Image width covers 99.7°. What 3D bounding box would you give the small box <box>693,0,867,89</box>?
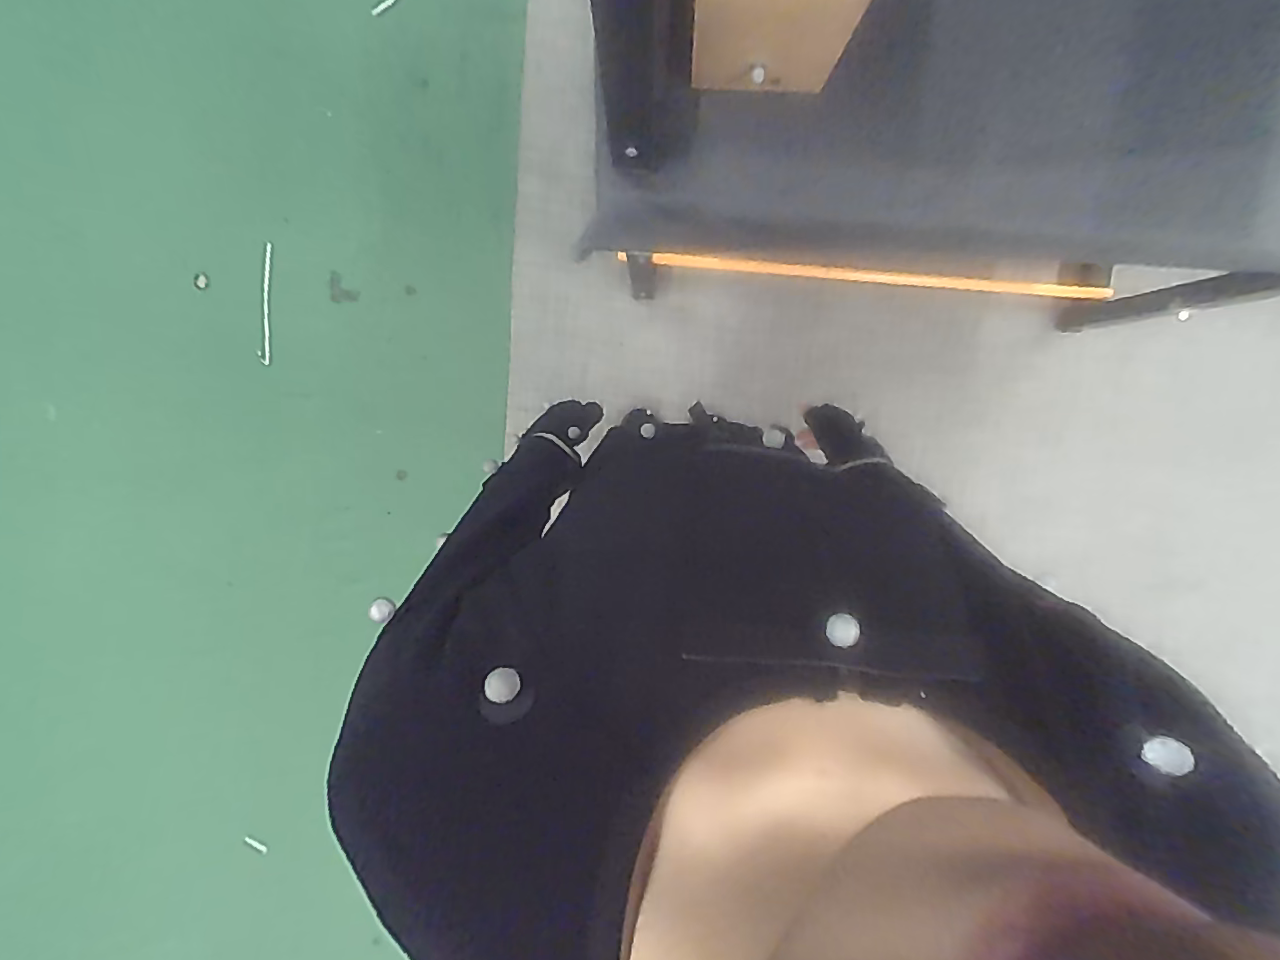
[{"bbox_3d":[0.148,-0.569,0.584,0.168,0.176,0.179,2,98,1],"label":"small box"}]
